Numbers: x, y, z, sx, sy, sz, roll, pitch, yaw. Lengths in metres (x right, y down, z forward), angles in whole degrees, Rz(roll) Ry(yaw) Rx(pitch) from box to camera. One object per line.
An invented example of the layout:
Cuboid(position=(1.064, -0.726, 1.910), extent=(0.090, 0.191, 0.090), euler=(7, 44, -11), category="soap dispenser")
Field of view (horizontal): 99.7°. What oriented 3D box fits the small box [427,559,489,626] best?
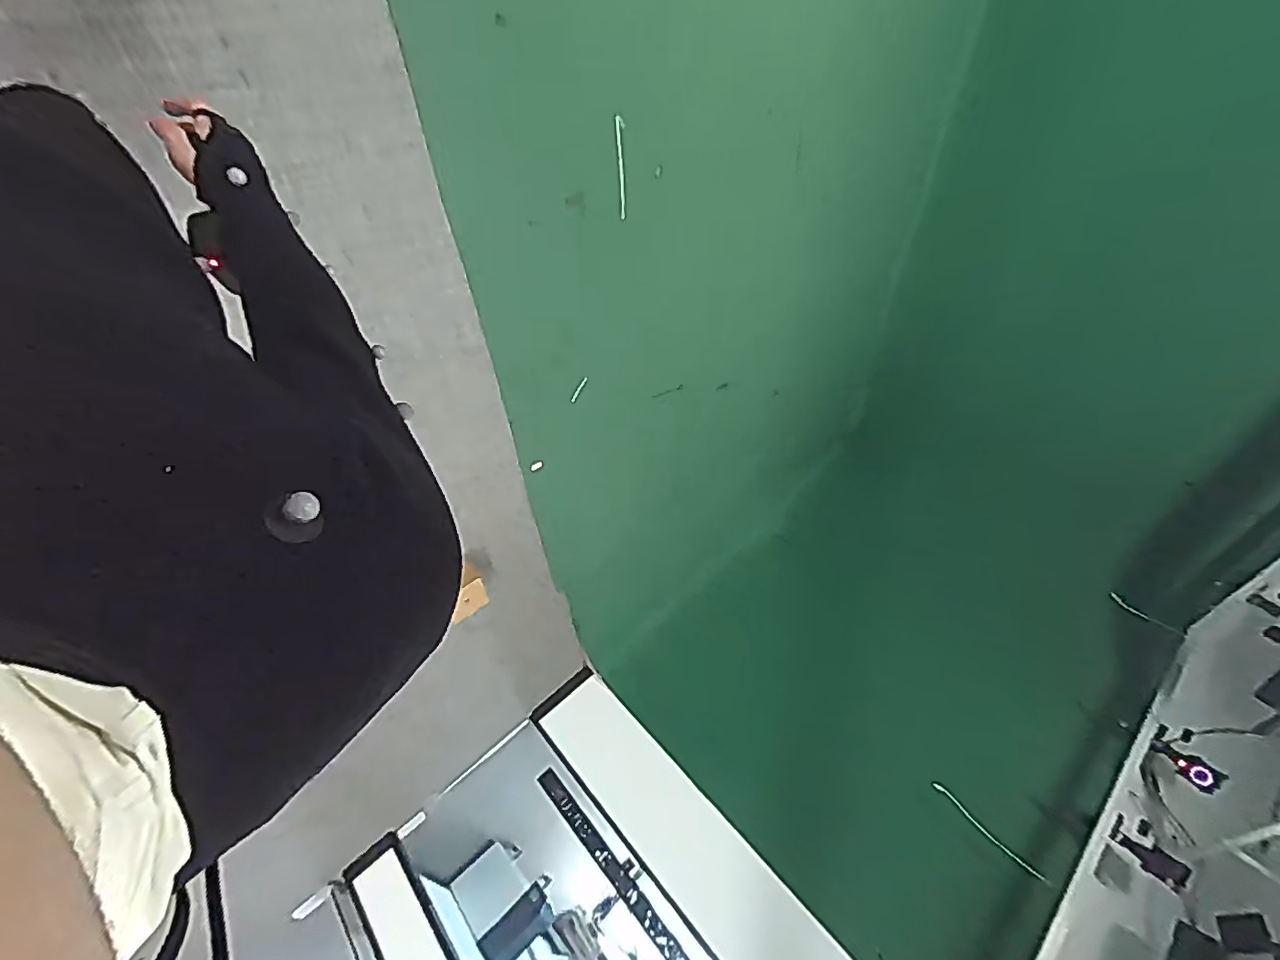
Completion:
Cuboid(position=(-0.757, 0.464, 2.253), extent=(0.168, 0.176, 0.179), euler=(-32, 141, -29), category="small box")
